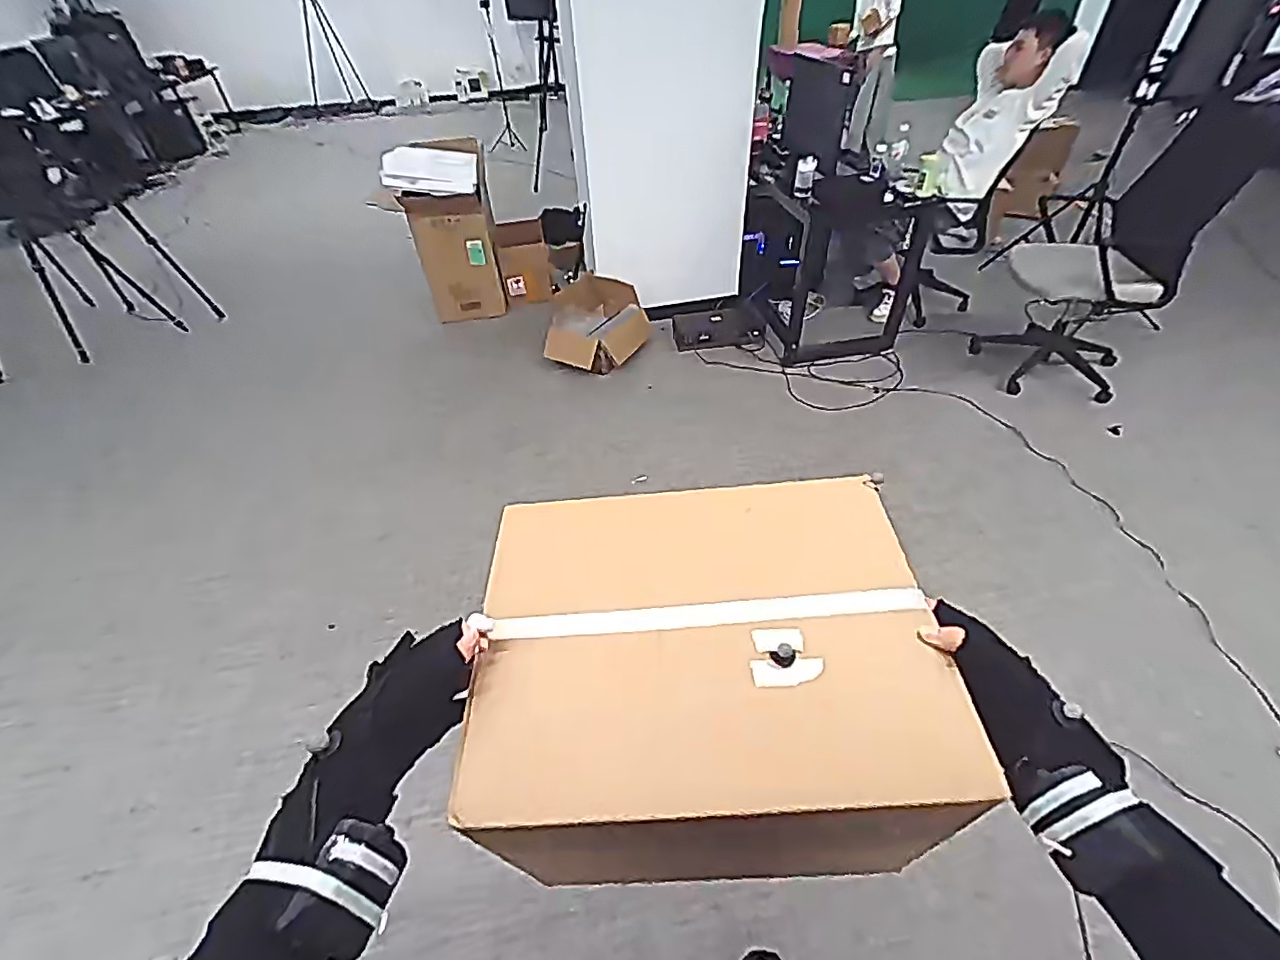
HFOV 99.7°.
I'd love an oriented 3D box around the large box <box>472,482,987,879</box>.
[{"bbox_3d":[0.070,0.231,0.617,0.408,0.320,0.320,-5,47,2],"label":"large box"}]
